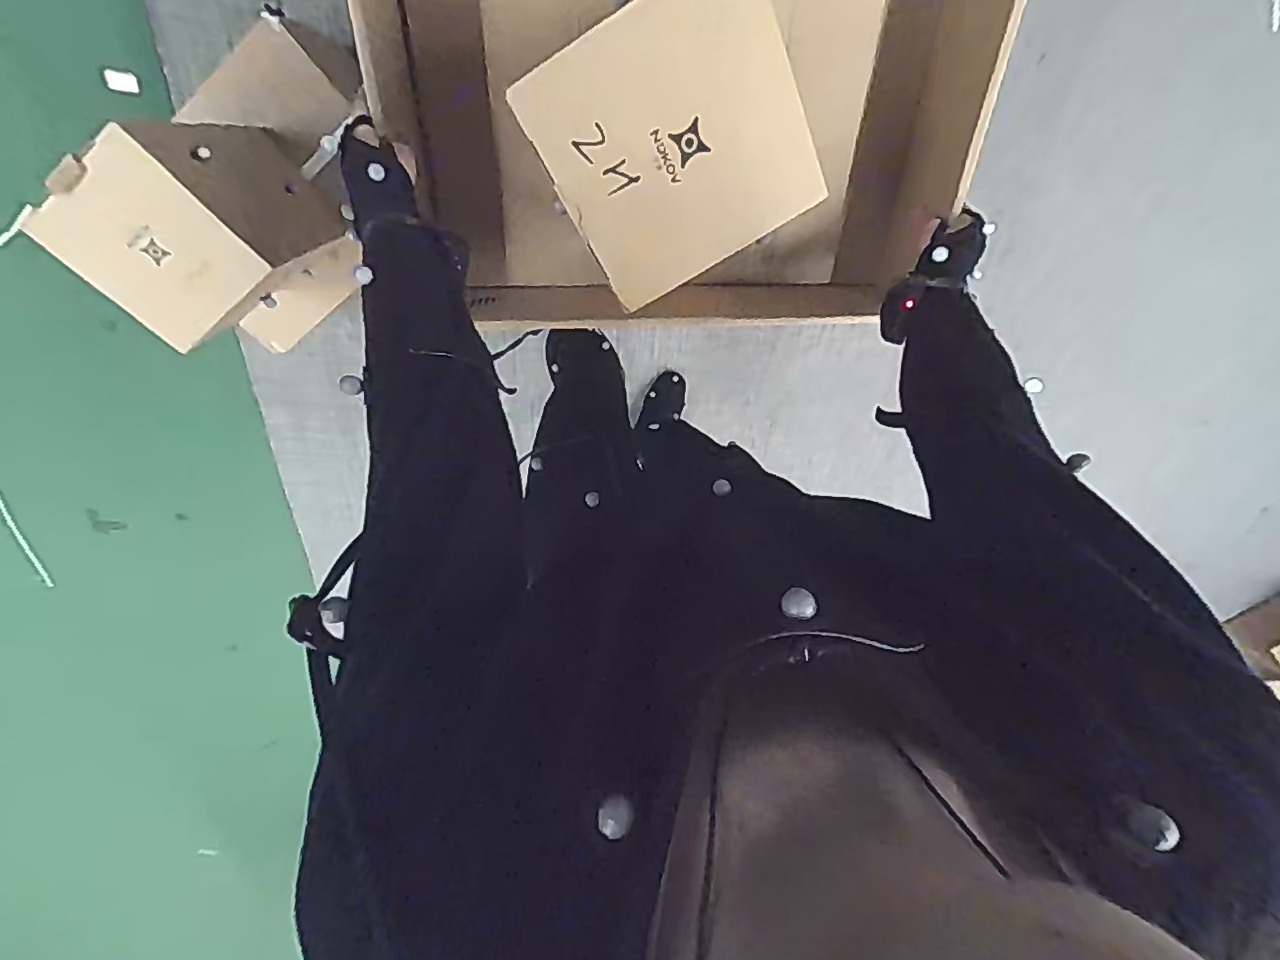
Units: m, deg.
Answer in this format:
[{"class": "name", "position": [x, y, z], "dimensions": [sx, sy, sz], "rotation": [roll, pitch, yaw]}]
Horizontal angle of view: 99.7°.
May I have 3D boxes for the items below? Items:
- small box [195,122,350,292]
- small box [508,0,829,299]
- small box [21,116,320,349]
[{"class": "small box", "position": [-0.567, -0.379, 0.784], "dimensions": [0.168, 0.176, 0.179], "rotation": [-32, 122, 10]}, {"class": "small box", "position": [0.018, -0.279, 0.433], "dimensions": [0.179, 0.176, 0.168], "rotation": [-27, 121, 10]}, {"class": "small box", "position": [-0.535, -0.294, 0.649], "dimensions": [0.168, 0.176, 0.179], "rotation": [-34, 121, 12]}]
